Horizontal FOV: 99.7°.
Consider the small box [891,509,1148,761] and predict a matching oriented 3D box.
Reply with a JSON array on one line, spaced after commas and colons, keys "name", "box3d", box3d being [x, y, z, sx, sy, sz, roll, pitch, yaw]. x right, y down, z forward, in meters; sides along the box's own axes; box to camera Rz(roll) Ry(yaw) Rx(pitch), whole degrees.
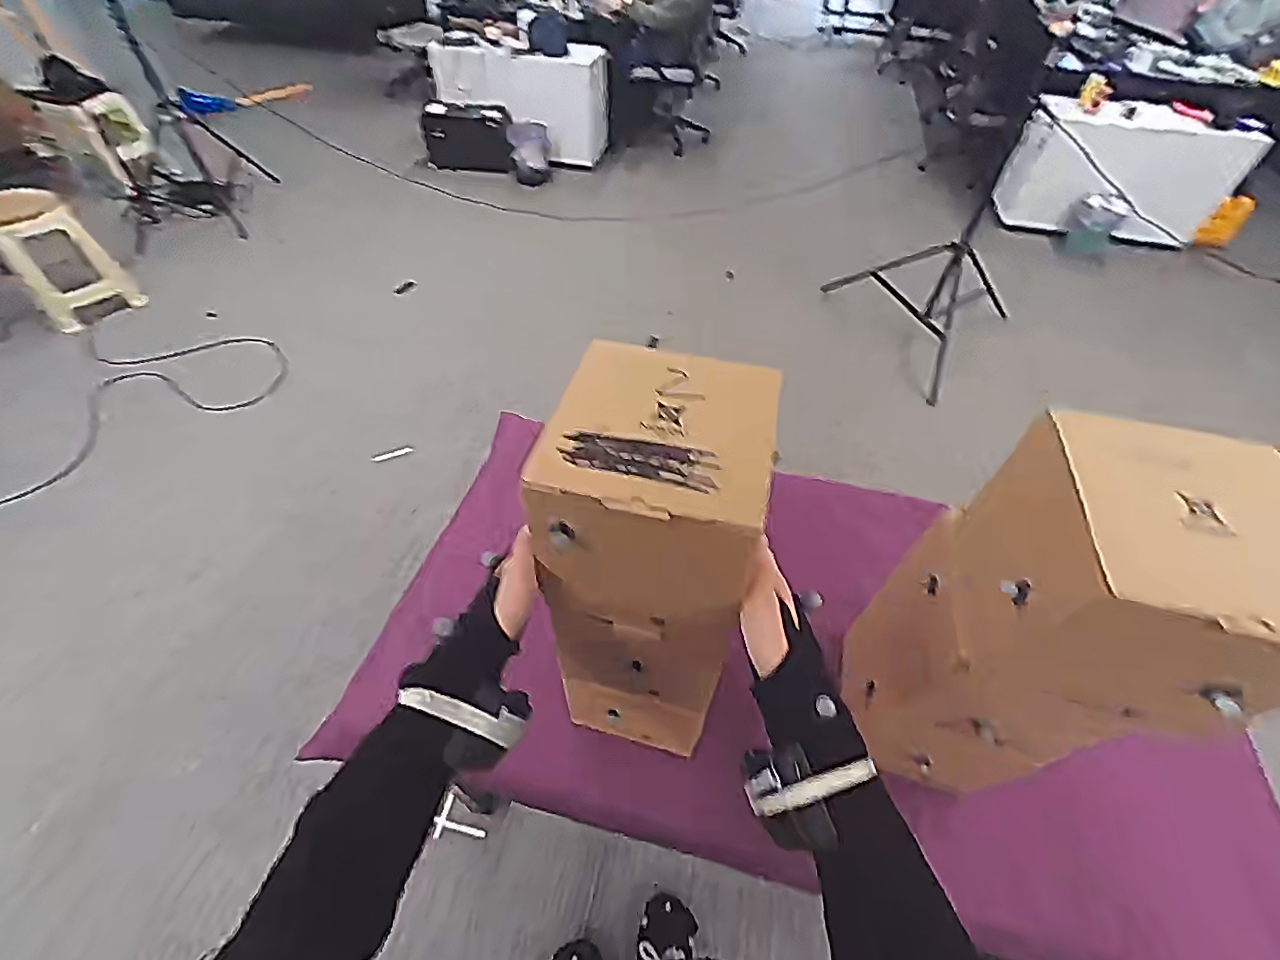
[{"name": "small box", "box3d": [0.378, 0.163, 0.567, 0.168, 0.176, 0.179, 14, 51, 10]}]

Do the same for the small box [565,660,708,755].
[{"name": "small box", "box3d": [0.014, 0.233, 0.708, 0.168, 0.176, 0.179, 13, 49, 9]}]

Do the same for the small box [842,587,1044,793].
[{"name": "small box", "box3d": [0.368, 0.271, 0.691, 0.168, 0.176, 0.179, 15, 50, 9]}]

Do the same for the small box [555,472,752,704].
[{"name": "small box", "box3d": [0.019, 0.121, 0.588, 0.168, 0.176, 0.179, 11, 50, 7]}]

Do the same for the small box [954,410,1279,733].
[{"name": "small box", "box3d": [0.380, 0.076, 0.429, 0.168, 0.176, 0.179, 12, 50, 7]}]
